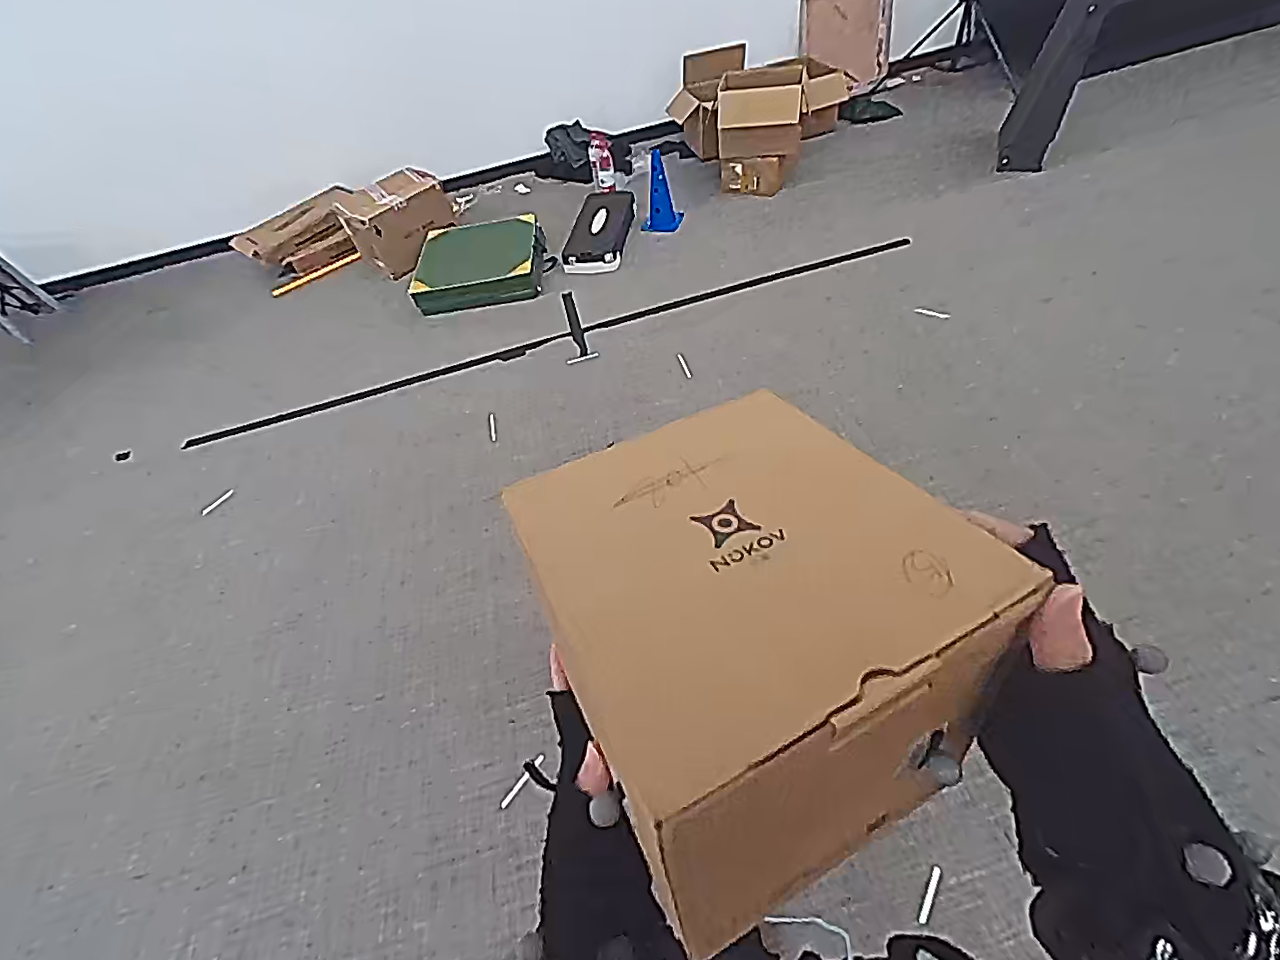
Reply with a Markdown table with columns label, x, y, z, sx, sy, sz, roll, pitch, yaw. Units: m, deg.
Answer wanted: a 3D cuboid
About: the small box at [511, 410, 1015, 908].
| label | x | y | z | sx | sy | sz | roll | pitch | yaw |
| --- | --- | --- | --- | --- | --- | --- | --- | --- | --- |
| small box | 0.049 | 0.092 | 0.300 | 0.168 | 0.176 | 0.179 | -22 | 39 | -16 |
